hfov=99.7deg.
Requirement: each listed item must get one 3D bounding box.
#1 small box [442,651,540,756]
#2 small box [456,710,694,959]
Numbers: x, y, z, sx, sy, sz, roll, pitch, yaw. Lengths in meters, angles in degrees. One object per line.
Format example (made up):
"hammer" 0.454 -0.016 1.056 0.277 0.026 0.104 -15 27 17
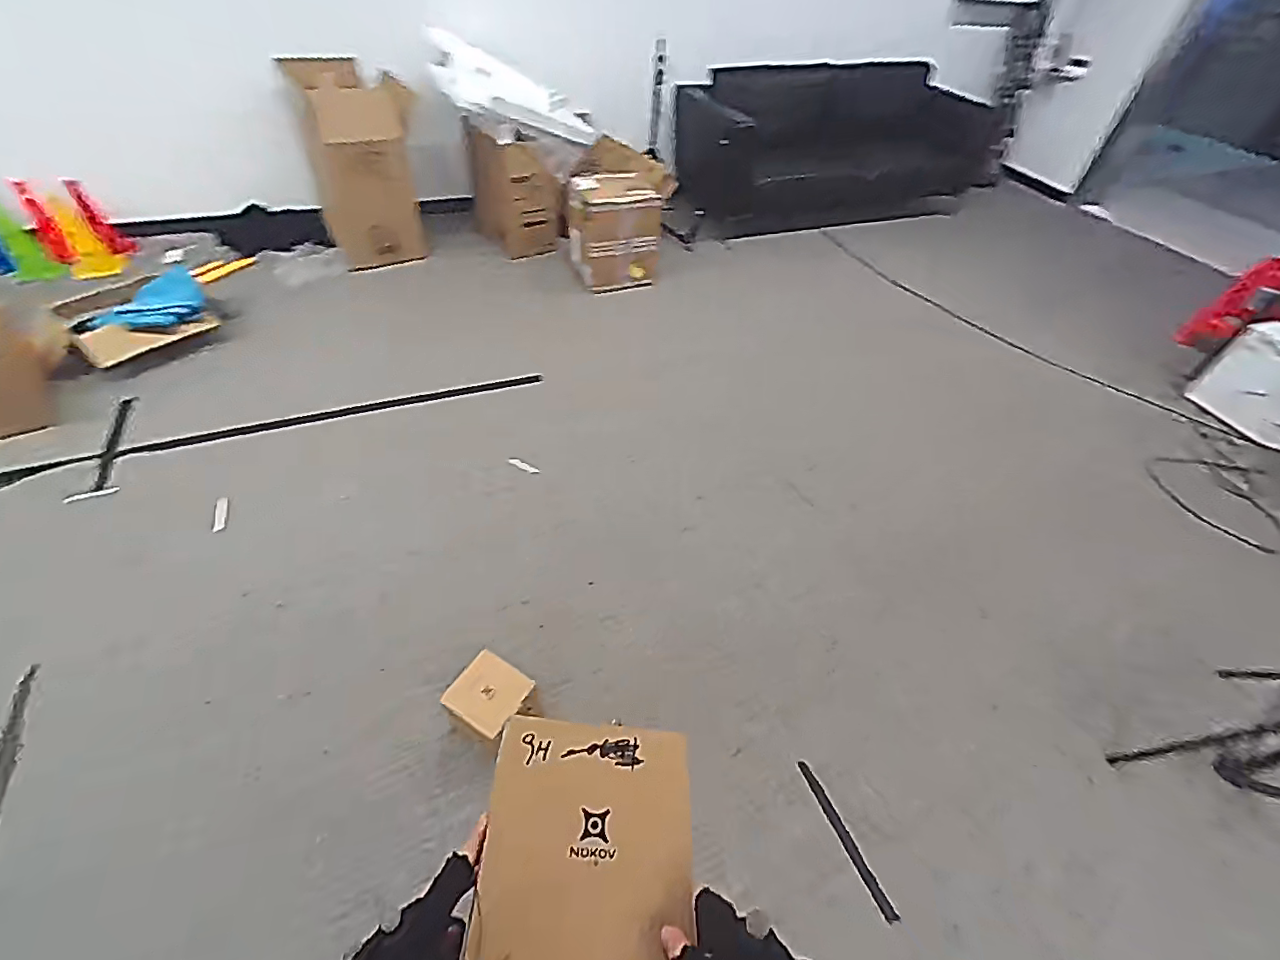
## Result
"small box" -0.374 0.583 1.391 0.179 0.176 0.168 25 48 19
"small box" -0.059 0.325 0.474 0.168 0.176 0.179 10 46 -11
